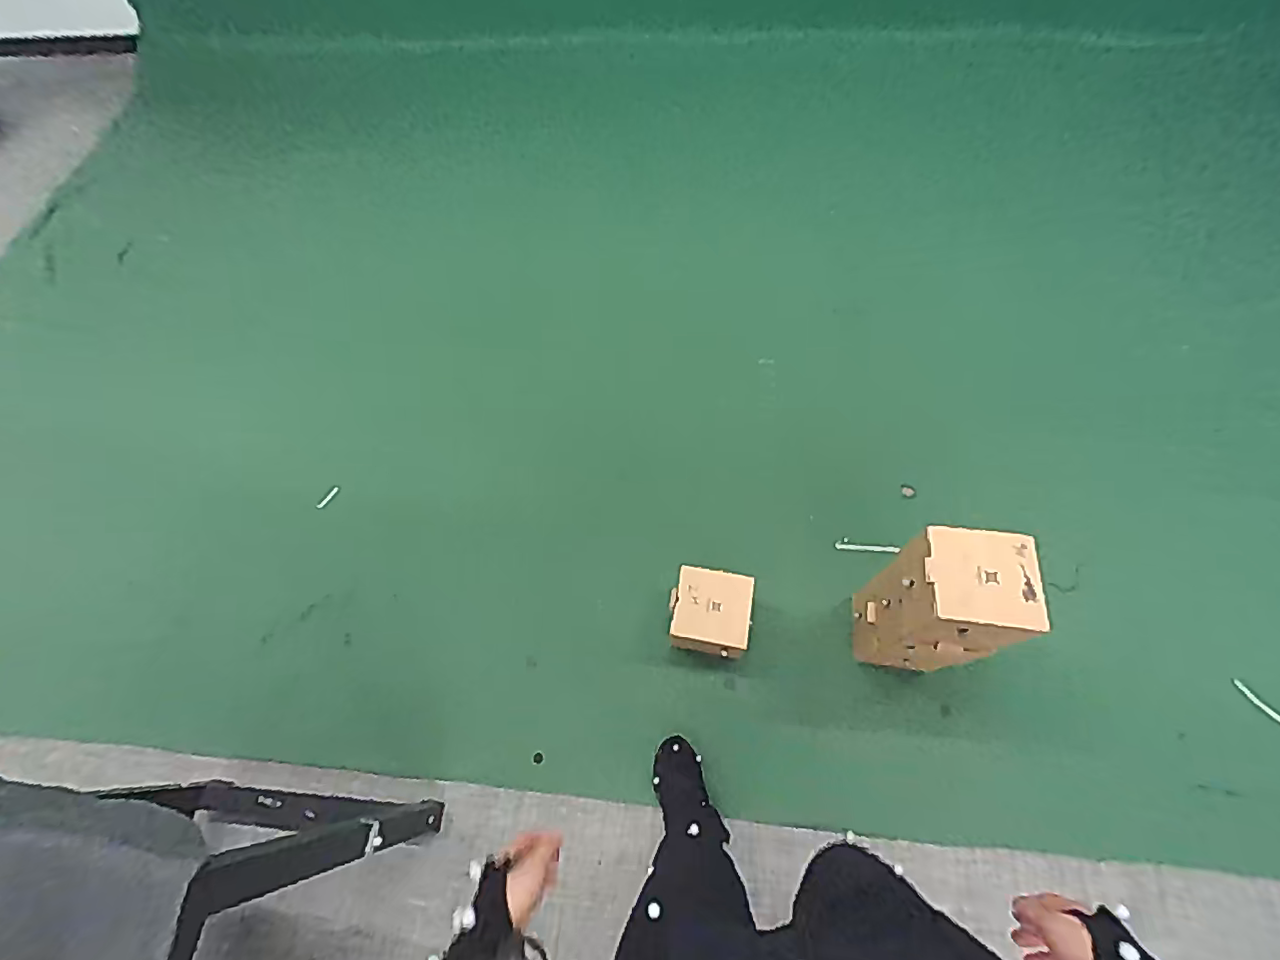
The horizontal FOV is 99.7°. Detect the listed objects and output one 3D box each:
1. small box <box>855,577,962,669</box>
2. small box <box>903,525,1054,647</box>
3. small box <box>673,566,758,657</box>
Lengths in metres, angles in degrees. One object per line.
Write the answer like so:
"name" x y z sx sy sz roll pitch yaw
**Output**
"small box" 0.618 0.338 1.260 0.179 0.176 0.168 7 66 7
"small box" 0.585 0.194 0.967 0.179 0.176 0.168 6 64 8
"small box" 0.178 0.321 1.298 0.179 0.176 0.168 9 65 8
